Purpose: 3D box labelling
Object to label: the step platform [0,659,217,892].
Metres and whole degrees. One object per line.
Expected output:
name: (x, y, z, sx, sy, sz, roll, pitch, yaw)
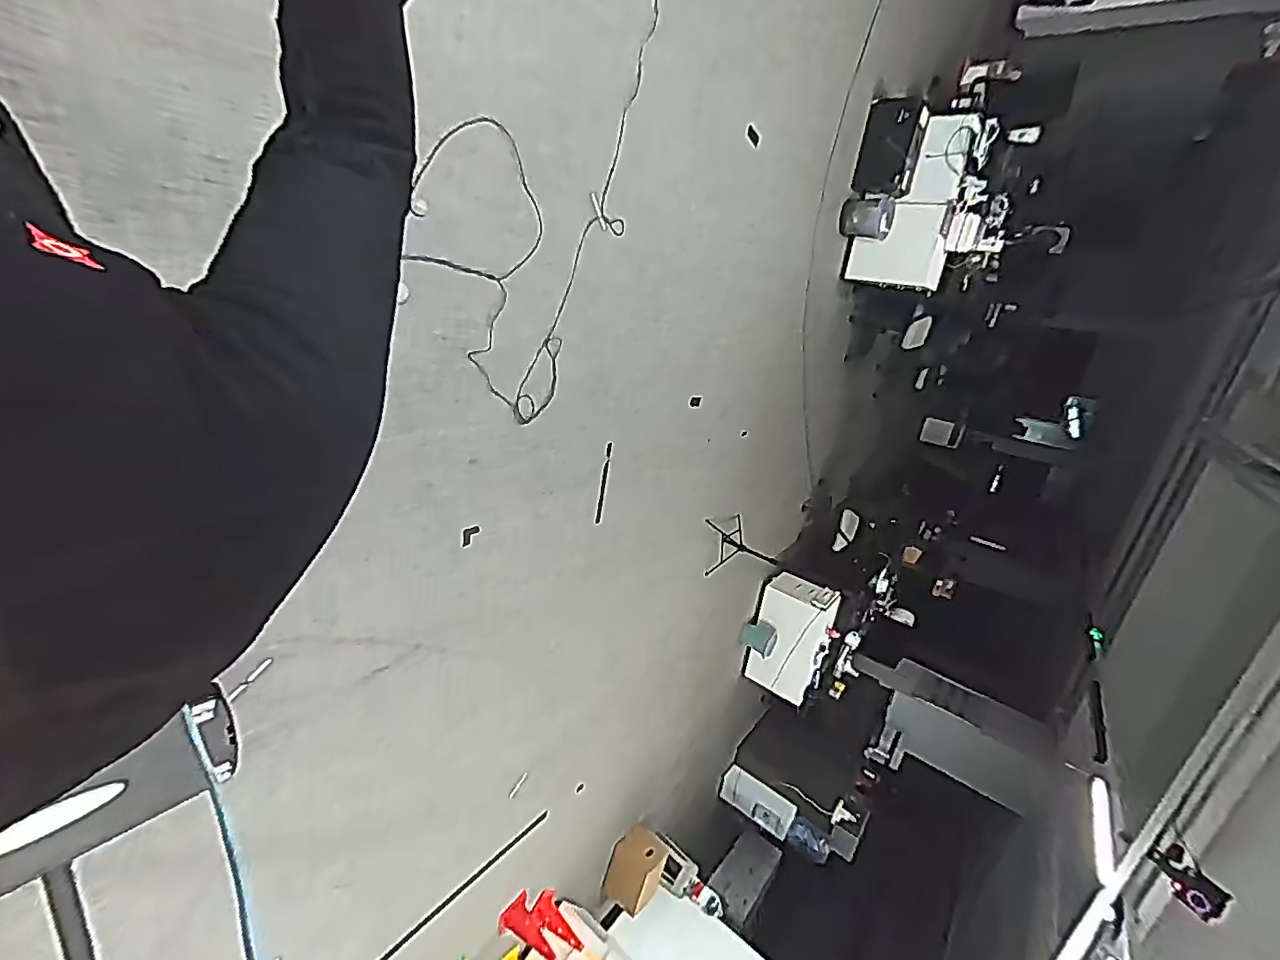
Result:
step platform: (-1.297, 0.659, 1.102, 0.684, 0.204, 0.286, -18, 123, -49)
